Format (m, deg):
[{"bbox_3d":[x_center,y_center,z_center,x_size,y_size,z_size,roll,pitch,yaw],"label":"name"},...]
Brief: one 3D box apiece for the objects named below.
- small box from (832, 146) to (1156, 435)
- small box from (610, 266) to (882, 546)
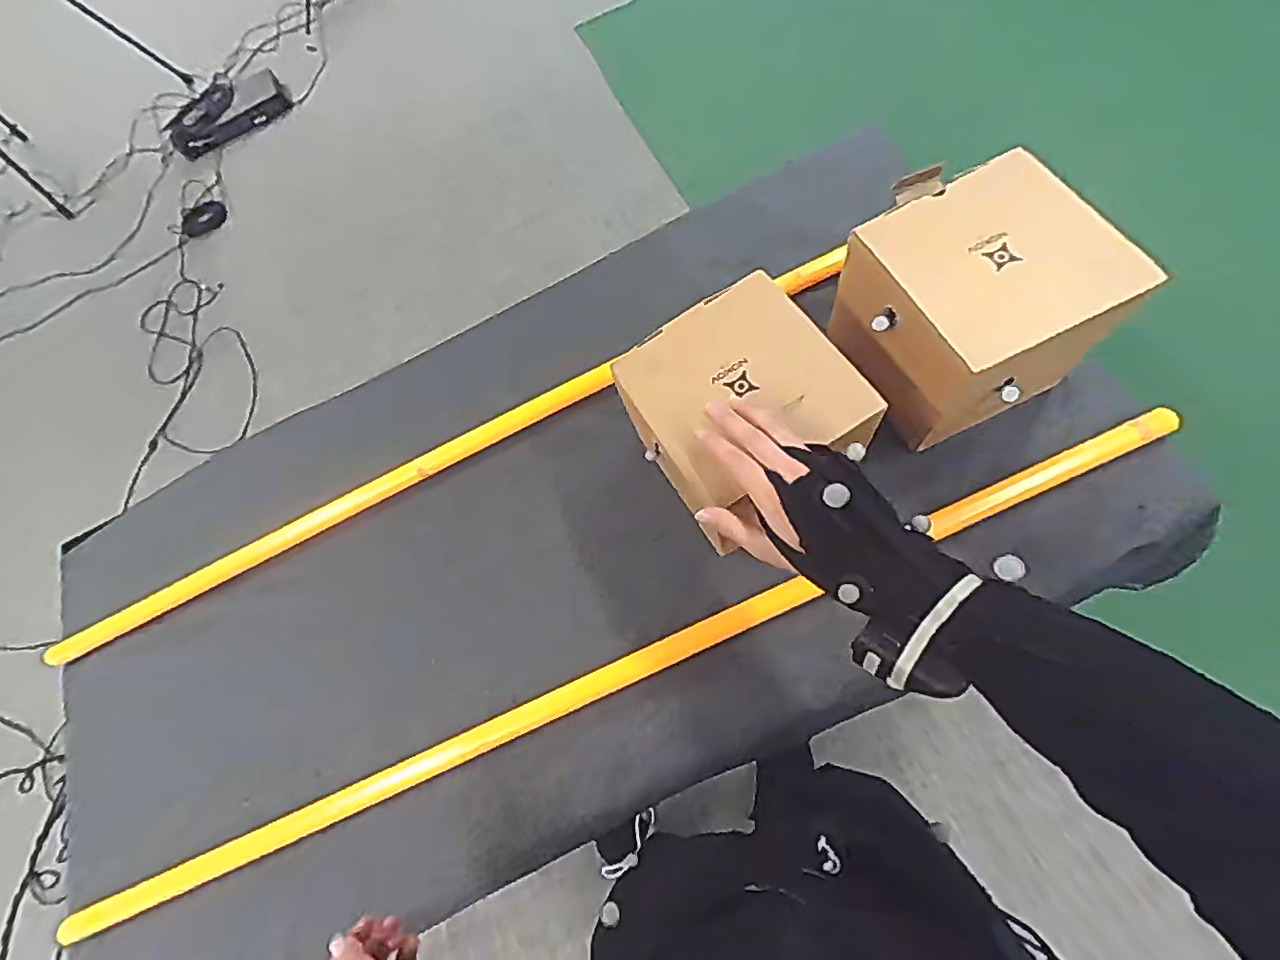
[{"bbox_3d":[0.309,-0.164,0.524,0.168,0.176,0.179,-27,67,2],"label":"small box"},{"bbox_3d":[0.096,-0.059,0.529,0.168,0.176,0.179,-34,68,0],"label":"small box"}]
